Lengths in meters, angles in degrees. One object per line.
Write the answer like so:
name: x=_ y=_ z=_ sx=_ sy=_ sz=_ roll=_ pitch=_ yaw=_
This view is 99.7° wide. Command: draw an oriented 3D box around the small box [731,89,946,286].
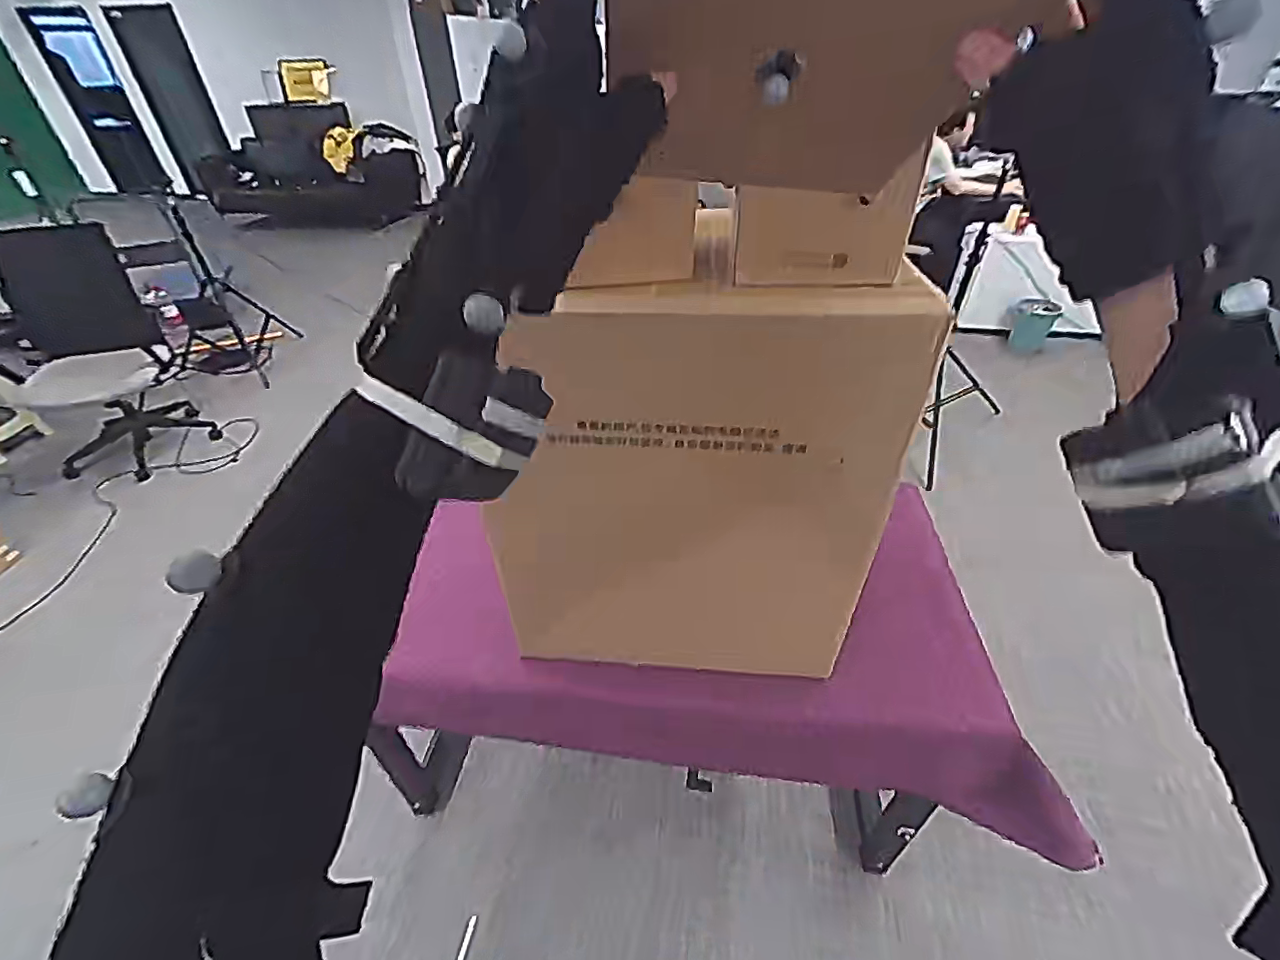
small box: x=0.187 y=-0.314 z=0.571 sx=0.168 sy=0.176 sz=0.179 roll=3 pitch=38 yaw=5

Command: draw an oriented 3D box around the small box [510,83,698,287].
small box: x=-0.036 y=-0.318 z=0.582 sx=0.179 sy=0.176 sz=0.168 roll=-6 pitch=40 yaw=-7

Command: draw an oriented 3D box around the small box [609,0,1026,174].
small box: x=0.077 y=-0.279 z=0.264 sx=0.179 sy=0.168 sz=0.176 roll=3 pitch=-3 yaw=-2
